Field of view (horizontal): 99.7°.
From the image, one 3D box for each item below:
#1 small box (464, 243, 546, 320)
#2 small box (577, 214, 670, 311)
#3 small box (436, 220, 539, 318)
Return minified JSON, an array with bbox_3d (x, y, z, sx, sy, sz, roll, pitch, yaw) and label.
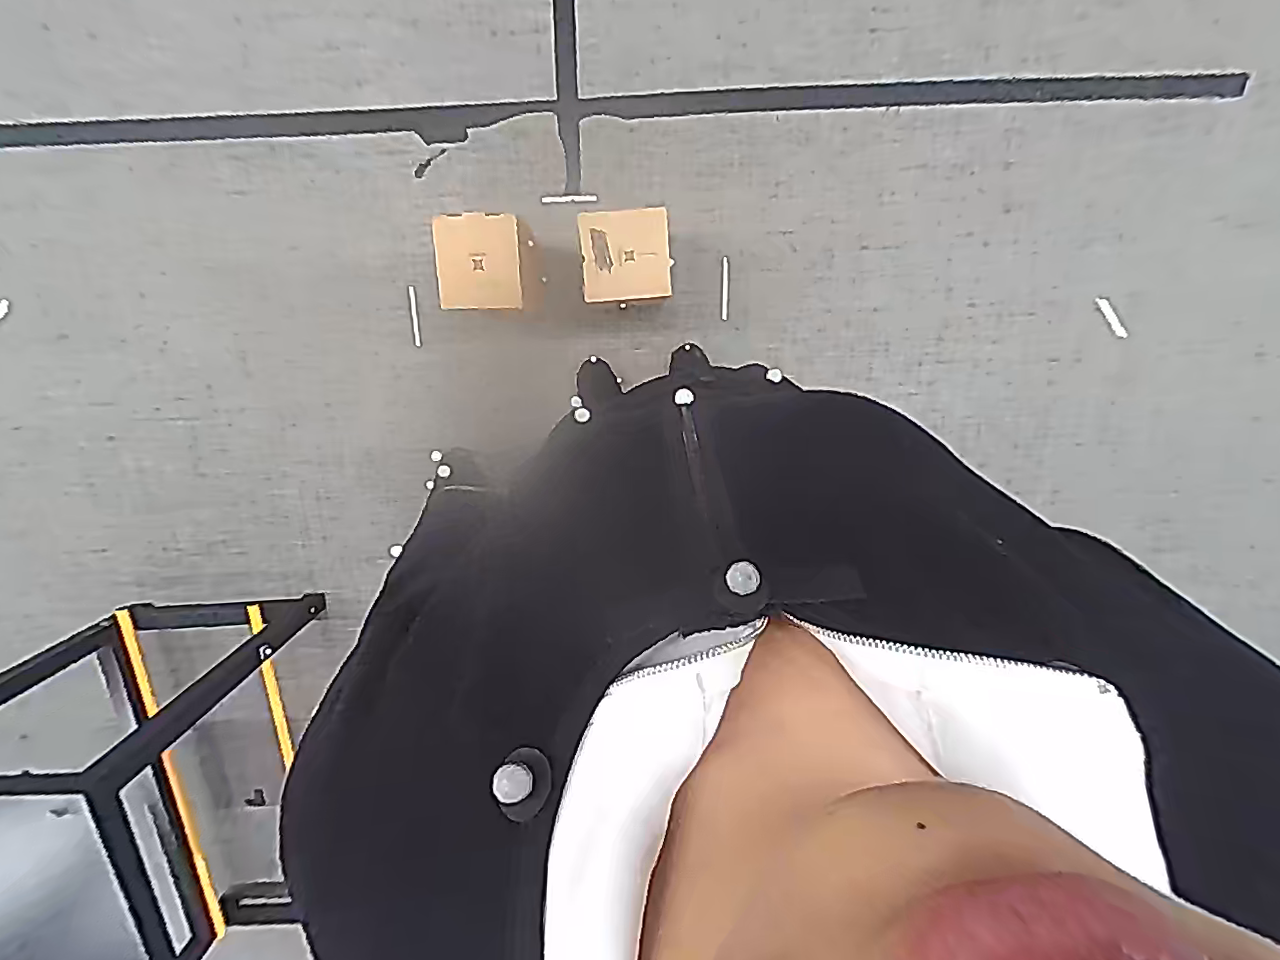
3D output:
[{"bbox_3d":[-0.324,-0.476,1.306,0.179,0.176,0.168,0,105,0],"label":"small box"},{"bbox_3d":[-0.031,-0.453,1.147,0.179,0.176,0.168,-4,105,0],"label":"small box"},{"bbox_3d":[-0.315,-0.440,1.148,0.168,0.176,0.179,-1,106,1],"label":"small box"}]
